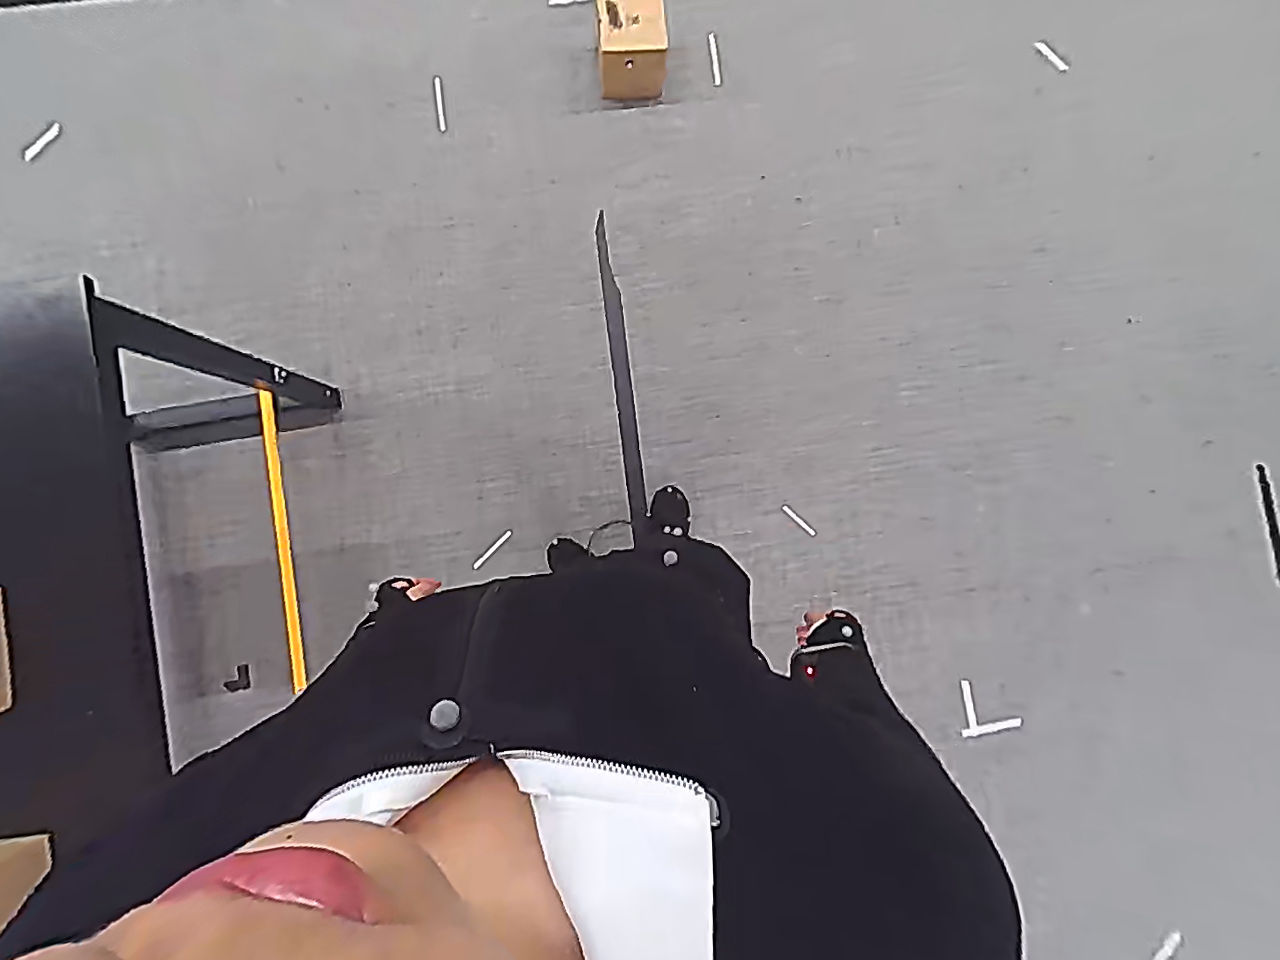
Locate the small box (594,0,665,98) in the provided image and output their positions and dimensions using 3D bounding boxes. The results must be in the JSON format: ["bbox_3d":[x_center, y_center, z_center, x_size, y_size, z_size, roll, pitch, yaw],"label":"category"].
[{"bbox_3d":[-0.030,-1.184,1.478,0.179,0.176,0.168,-5,89,-4],"label":"small box"}]

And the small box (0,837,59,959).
[{"bbox_3d":[-0.871,0.567,0.646,0.179,0.176,0.168,-7,88,-2],"label":"small box"}]

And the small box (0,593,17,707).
[{"bbox_3d":[-0.945,0.238,0.658,0.179,0.176,0.168,-9,90,-3],"label":"small box"}]
